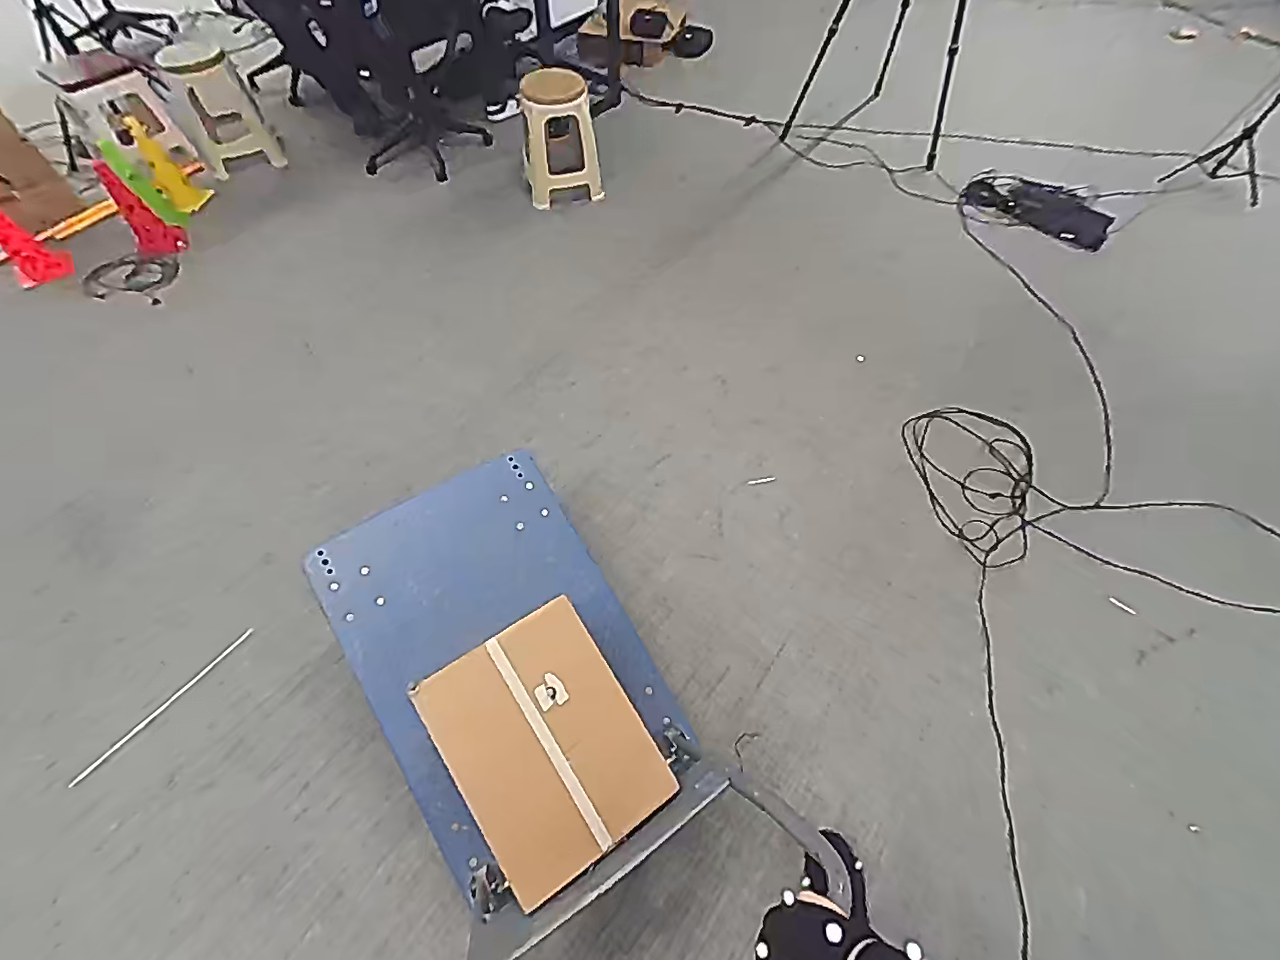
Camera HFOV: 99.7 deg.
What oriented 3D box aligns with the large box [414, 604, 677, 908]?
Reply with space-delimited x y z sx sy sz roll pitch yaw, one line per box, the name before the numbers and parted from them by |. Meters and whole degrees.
large box | -0.188 0.515 1.098 0.320 0.320 0.408 -31 80 -19
